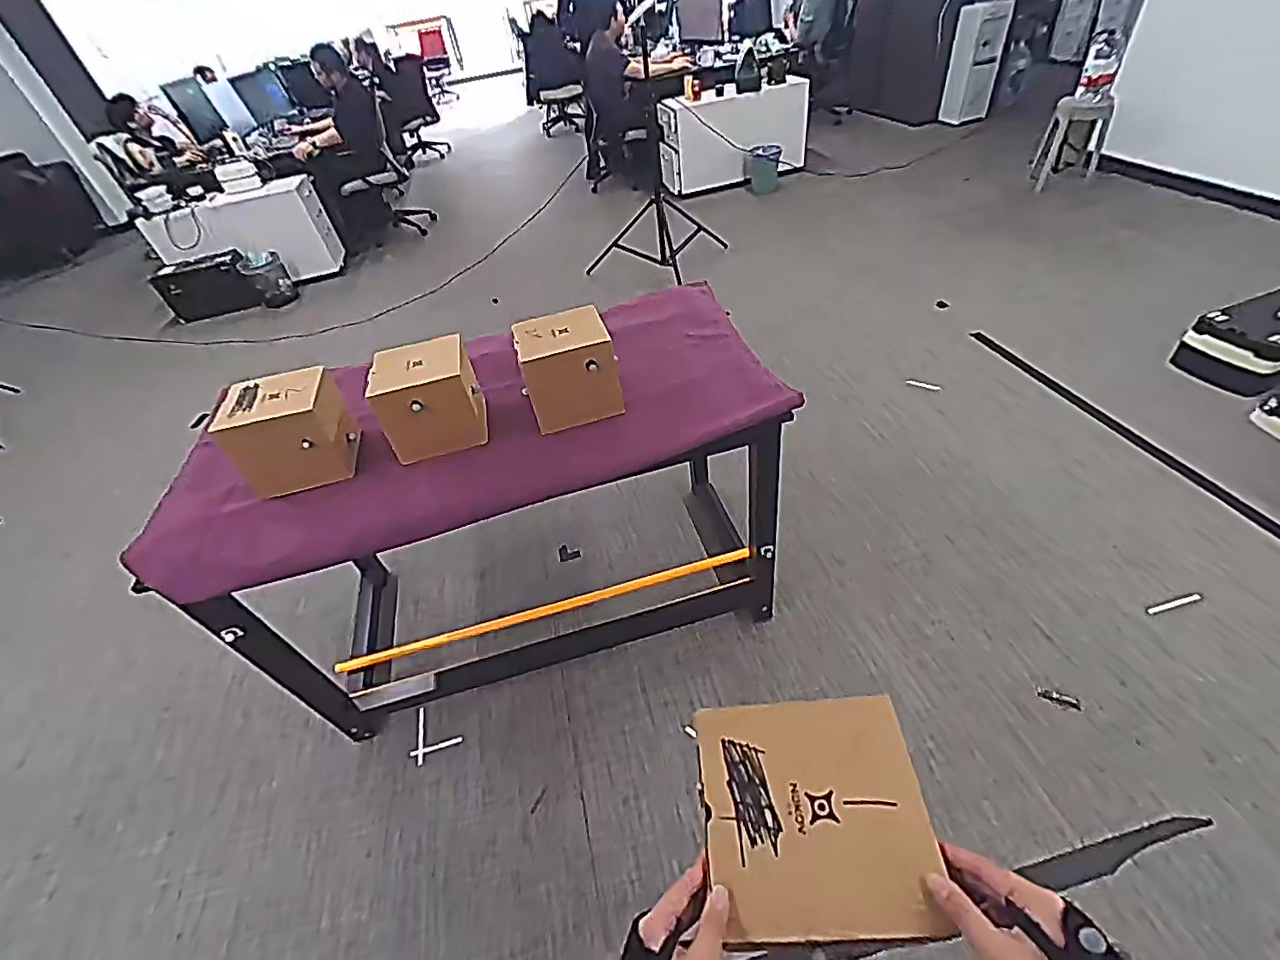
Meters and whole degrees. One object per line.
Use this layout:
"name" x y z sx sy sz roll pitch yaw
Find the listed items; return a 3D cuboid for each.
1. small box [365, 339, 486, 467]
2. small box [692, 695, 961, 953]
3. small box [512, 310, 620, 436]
"small box" -0.417 -0.153 1.084 0.179 0.176 0.168 -16 43 -5
"small box" 0.148 0.312 0.486 0.179 0.176 0.168 -7 47 7
"small box" -0.145 -0.215 1.090 0.179 0.176 0.168 -16 42 -6
